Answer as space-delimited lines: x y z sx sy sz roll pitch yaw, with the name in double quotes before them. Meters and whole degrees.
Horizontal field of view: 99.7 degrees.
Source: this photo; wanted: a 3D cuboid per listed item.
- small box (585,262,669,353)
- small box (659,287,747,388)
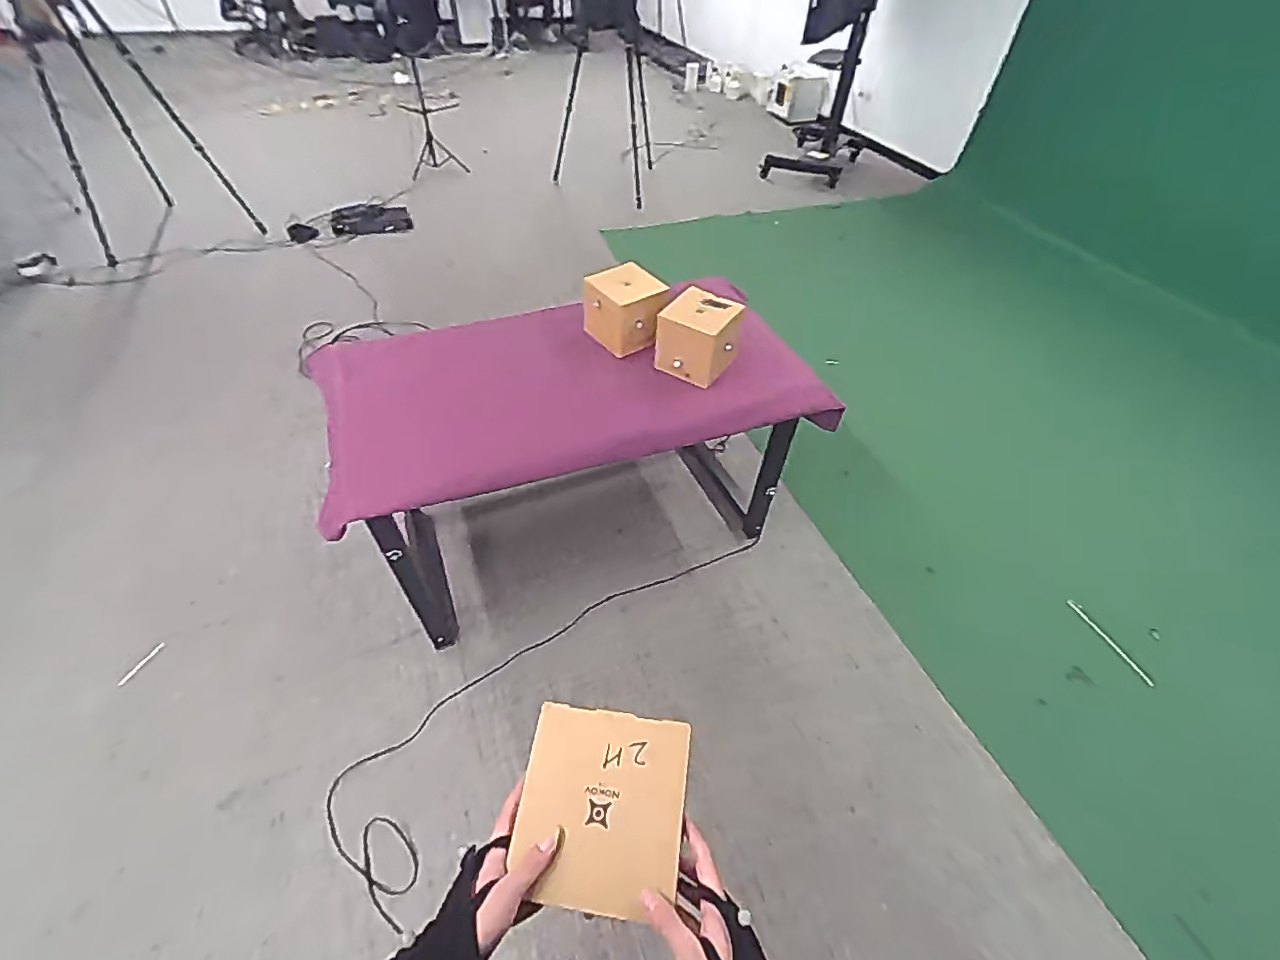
"small box" -0.037 -0.475 1.510 0.168 0.176 0.179 -29 56 -25
"small box" 0.159 -0.376 1.431 0.168 0.176 0.179 28 54 20
